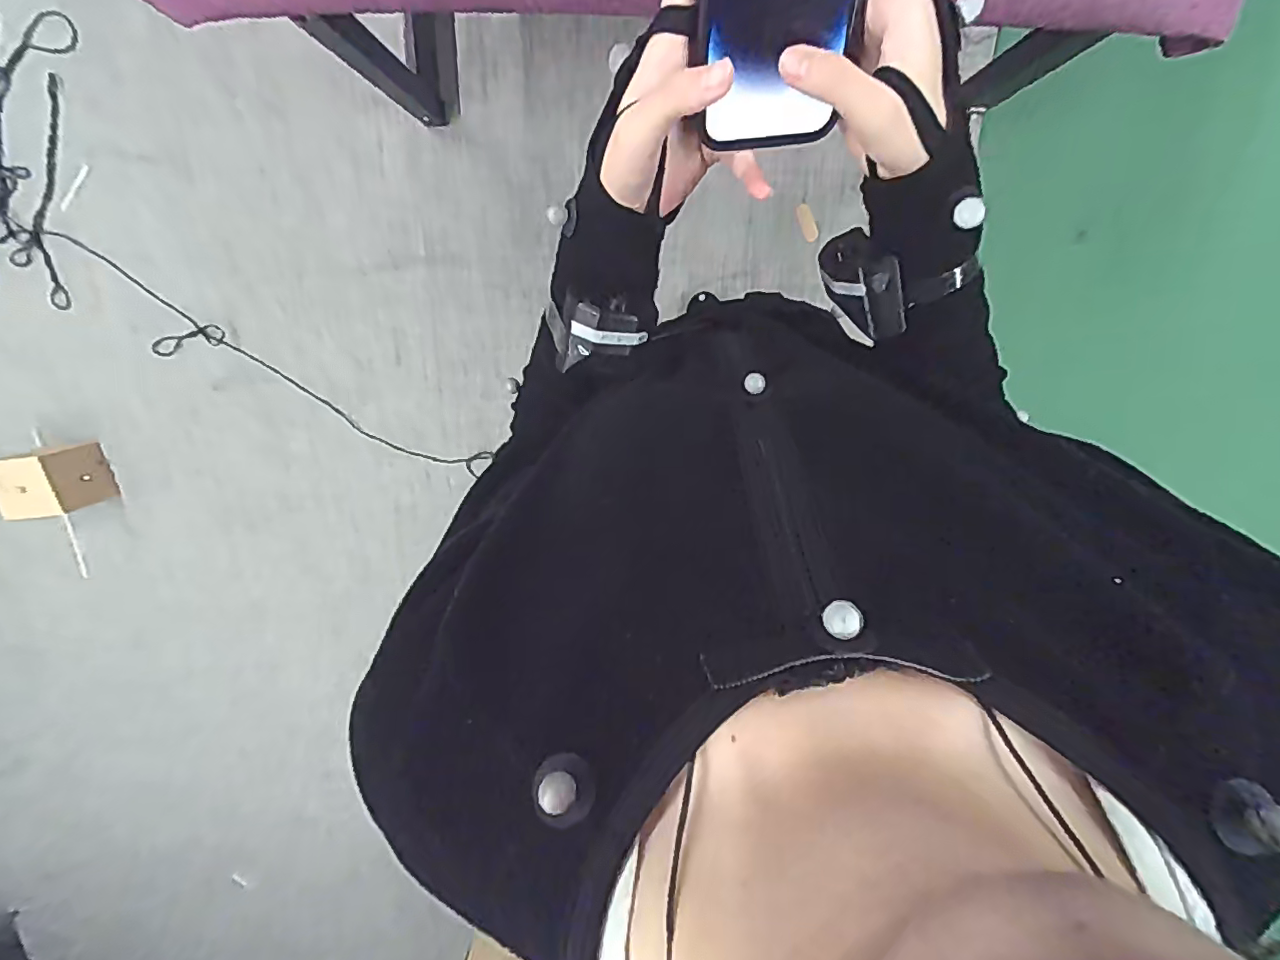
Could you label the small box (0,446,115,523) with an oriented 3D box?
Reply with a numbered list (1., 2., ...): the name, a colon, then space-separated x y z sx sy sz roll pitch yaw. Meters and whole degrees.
1. small box: -1.627 0.007 1.502 0.179 0.176 0.168 -5 107 4
